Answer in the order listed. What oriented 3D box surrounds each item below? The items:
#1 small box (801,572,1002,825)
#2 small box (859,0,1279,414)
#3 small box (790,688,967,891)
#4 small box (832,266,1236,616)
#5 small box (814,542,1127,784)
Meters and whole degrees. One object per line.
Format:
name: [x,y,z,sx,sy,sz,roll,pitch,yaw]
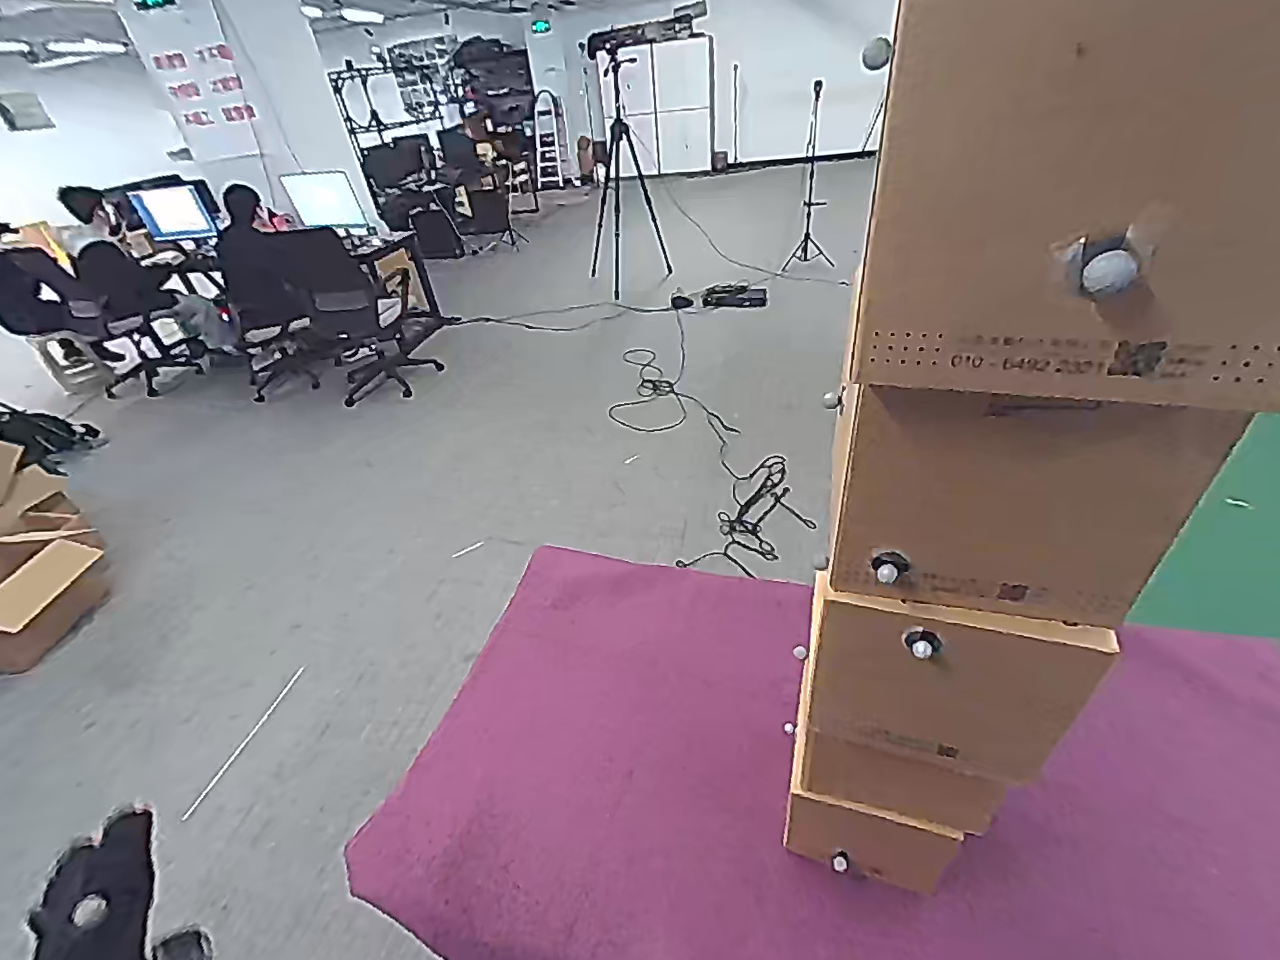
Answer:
small box: [0.265,0.221,0.559,0.179,0.176,0.168,6,39,18]
small box: [0.198,-0.150,0.240,0.168,0.176,0.179,8,40,21]
small box: [0.277,0.349,0.656,0.168,0.176,0.179,6,40,19]
small box: [0.223,-0.035,0.357,0.168,0.176,0.179,5,38,17]
small box: [0.240,0.105,0.444,0.168,0.176,0.179,7,38,20]
